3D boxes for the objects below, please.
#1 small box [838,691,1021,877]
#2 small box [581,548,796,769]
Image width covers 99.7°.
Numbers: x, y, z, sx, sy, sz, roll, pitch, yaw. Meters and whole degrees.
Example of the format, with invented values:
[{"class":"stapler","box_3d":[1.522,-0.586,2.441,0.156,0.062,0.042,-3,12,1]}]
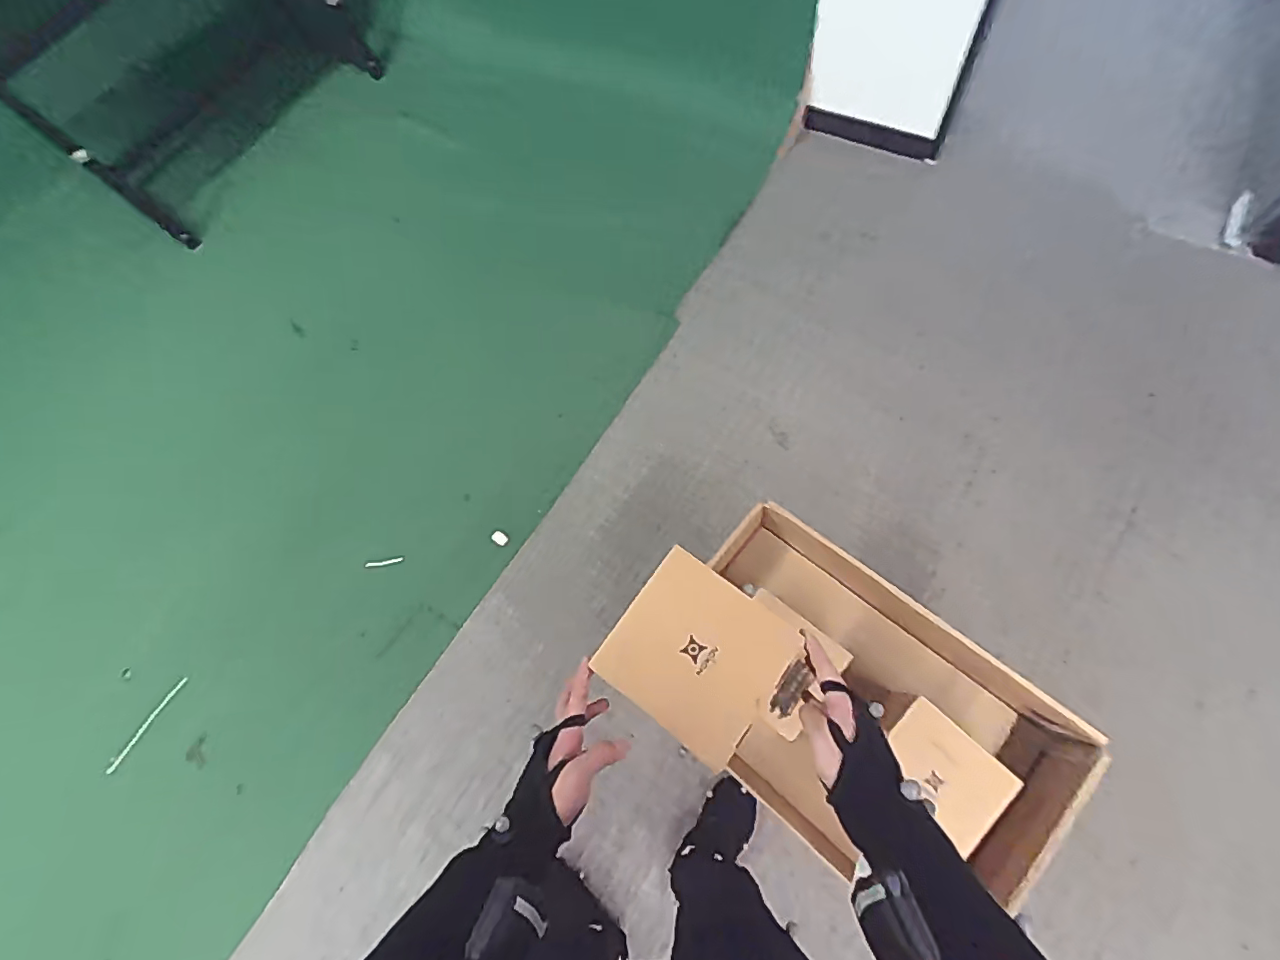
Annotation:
[{"class":"small box","box_3d":[0.430,0.454,0.841,0.179,0.176,0.168,-45,70,-6]},{"class":"small box","box_3d":[0.056,0.208,0.658,0.179,0.176,0.168,35,81,12]}]
